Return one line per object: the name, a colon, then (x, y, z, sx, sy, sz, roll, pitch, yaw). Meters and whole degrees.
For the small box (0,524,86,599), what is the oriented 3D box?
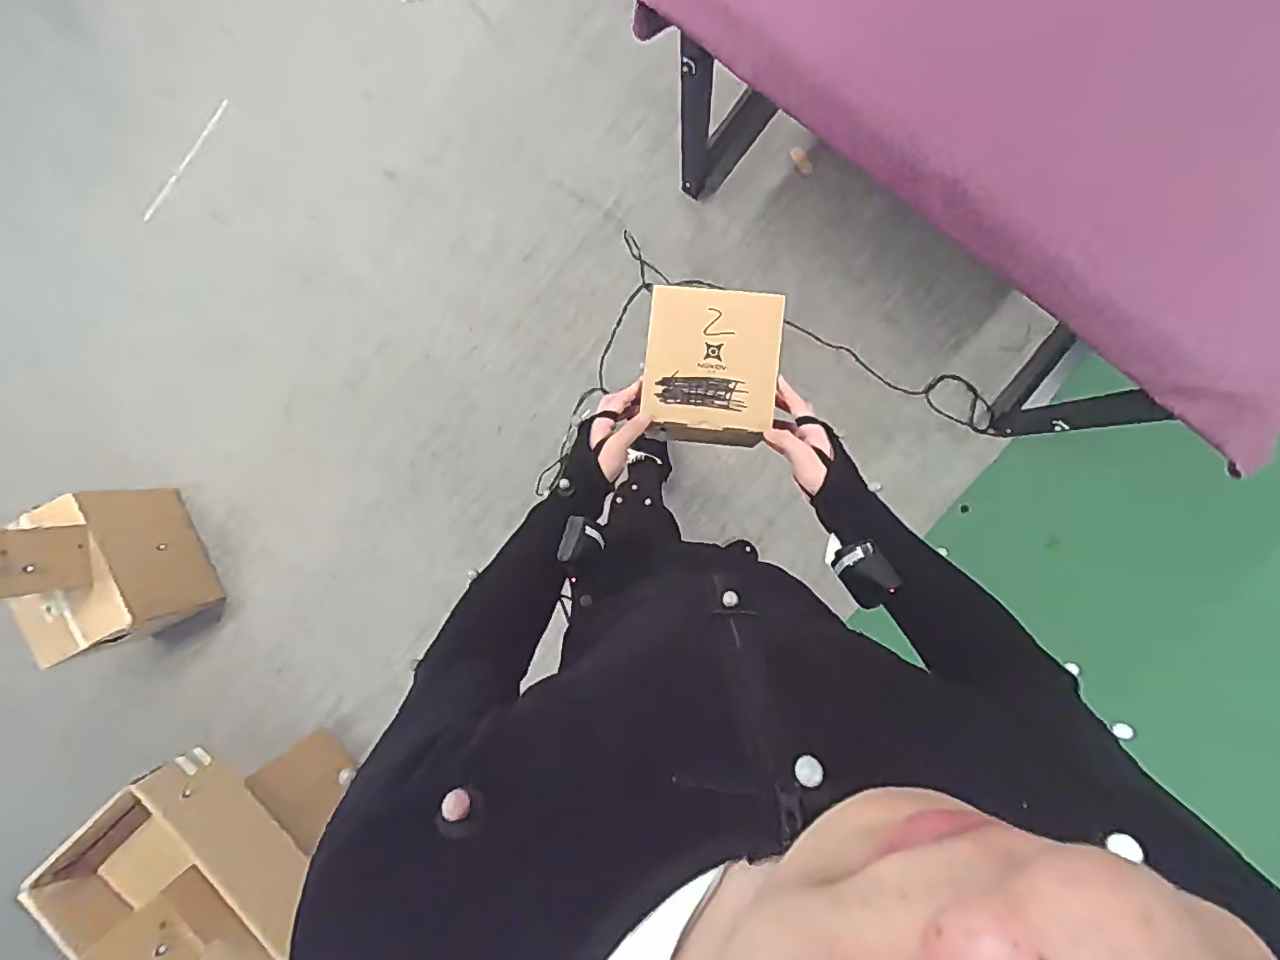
small box: (-1.567, 0.206, 1.360, 0.179, 0.176, 0.168, -6, 91, 4)

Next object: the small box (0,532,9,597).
small box: (-1.579, 0.205, 1.194, 0.179, 0.176, 0.168, -7, 91, 3)

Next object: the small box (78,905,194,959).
small box: (-1.051, 1.010, 1.067, 0.179, 0.176, 0.168, -42, 89, 3)

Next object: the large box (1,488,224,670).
large box: (-1.568, 0.271, 1.607, 0.320, 0.320, 0.408, -27, 90, 5)
